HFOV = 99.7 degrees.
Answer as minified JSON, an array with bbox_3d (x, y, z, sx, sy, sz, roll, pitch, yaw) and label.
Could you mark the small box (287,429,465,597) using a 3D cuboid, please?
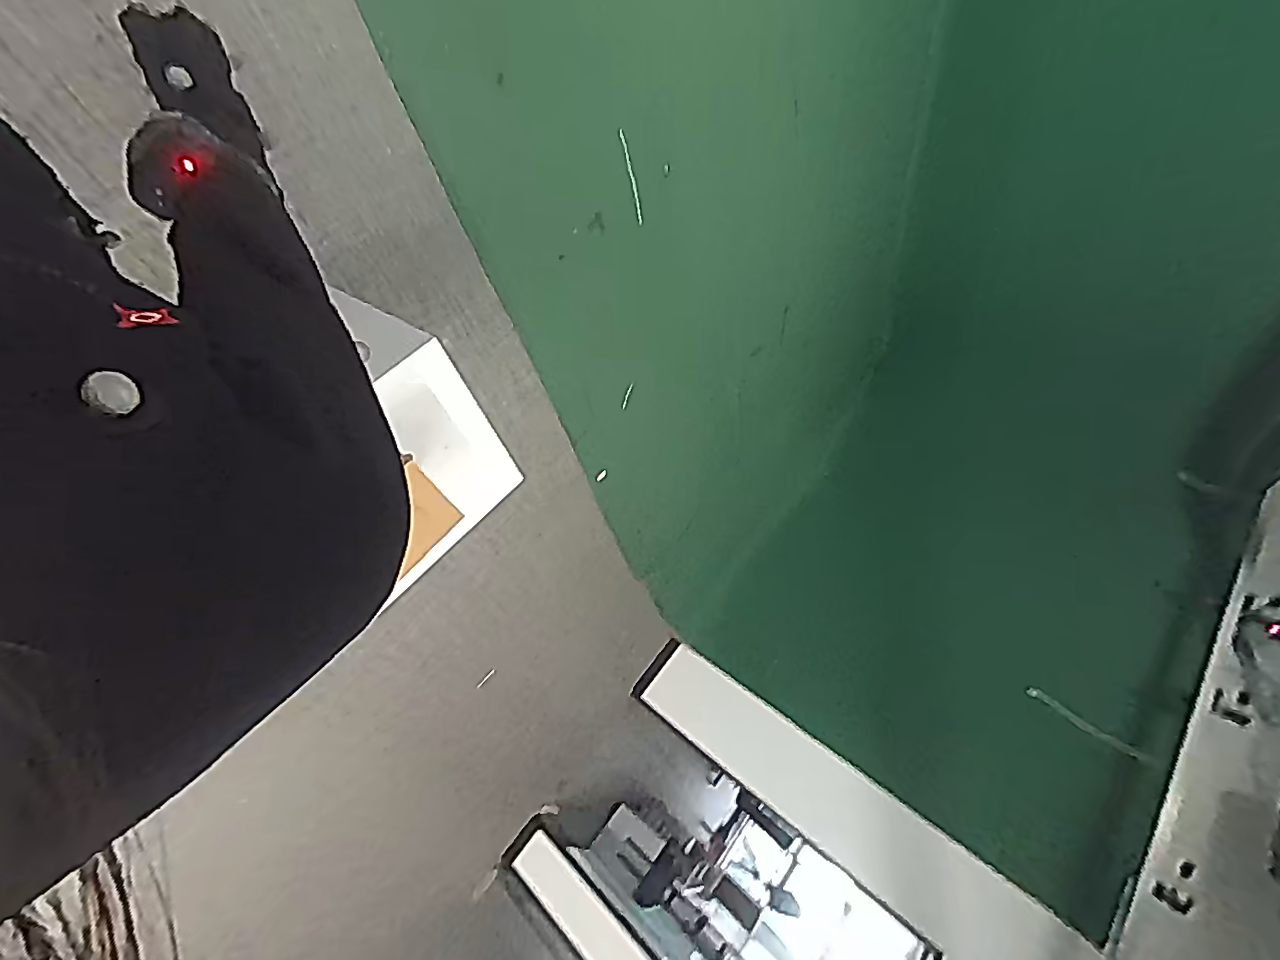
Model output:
[{"bbox_3d":[-0.428,0.050,0.873,0.179,0.176,0.168,-49,146,-19],"label":"small box"}]
